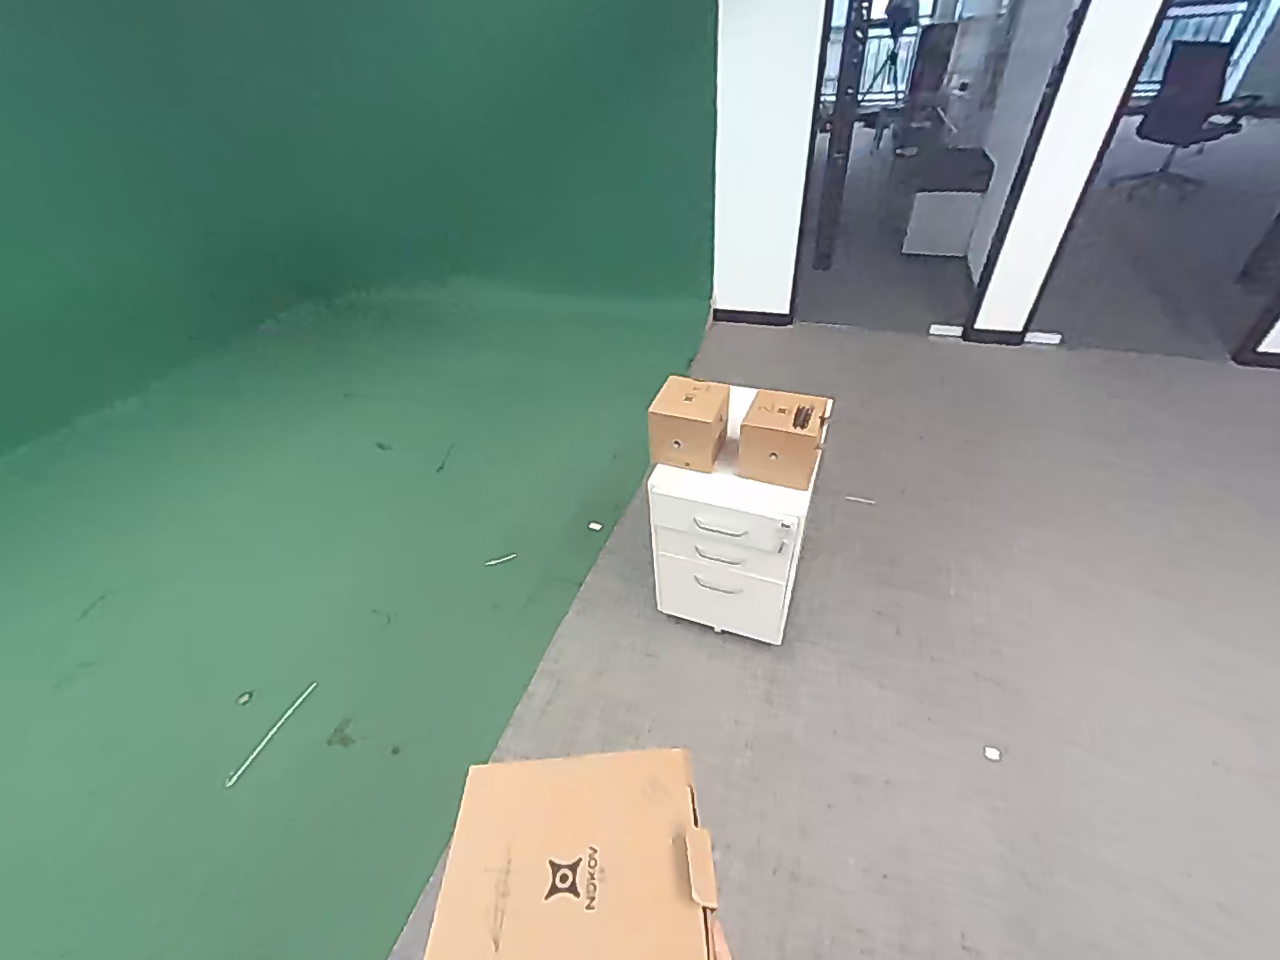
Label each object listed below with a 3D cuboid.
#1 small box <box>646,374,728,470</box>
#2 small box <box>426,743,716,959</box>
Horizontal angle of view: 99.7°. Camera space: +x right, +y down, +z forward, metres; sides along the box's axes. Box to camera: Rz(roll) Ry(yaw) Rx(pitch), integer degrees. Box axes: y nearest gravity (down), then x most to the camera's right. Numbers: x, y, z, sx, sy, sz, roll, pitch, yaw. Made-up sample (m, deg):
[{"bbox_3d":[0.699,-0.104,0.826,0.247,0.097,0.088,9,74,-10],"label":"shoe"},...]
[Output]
[{"bbox_3d":[0.125,-0.150,1.409,0.168,0.176,0.179,14,45,17],"label":"small box"},{"bbox_3d":[-0.036,0.324,0.401,0.179,0.176,0.168,-6,33,3],"label":"small box"}]
